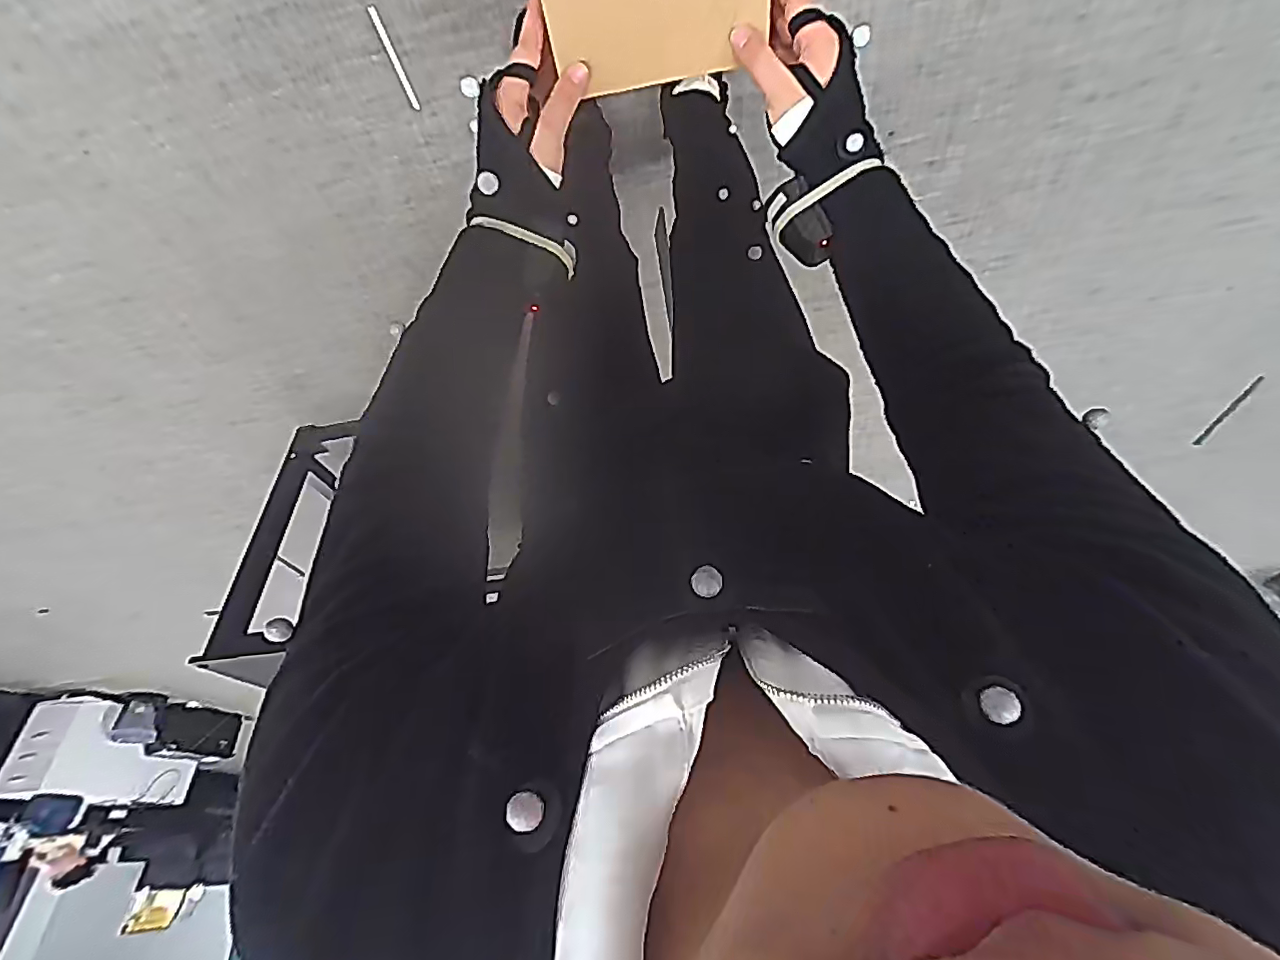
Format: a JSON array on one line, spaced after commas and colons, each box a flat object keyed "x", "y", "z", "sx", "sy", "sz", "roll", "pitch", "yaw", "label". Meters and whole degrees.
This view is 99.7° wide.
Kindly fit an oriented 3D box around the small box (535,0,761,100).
[{"x": -0.003, "y": -0.433, "z": 0.411, "sx": 0.168, "sy": 0.176, "sz": 0.179, "roll": -9, "pitch": 142, "yaw": 5, "label": "small box"}]
